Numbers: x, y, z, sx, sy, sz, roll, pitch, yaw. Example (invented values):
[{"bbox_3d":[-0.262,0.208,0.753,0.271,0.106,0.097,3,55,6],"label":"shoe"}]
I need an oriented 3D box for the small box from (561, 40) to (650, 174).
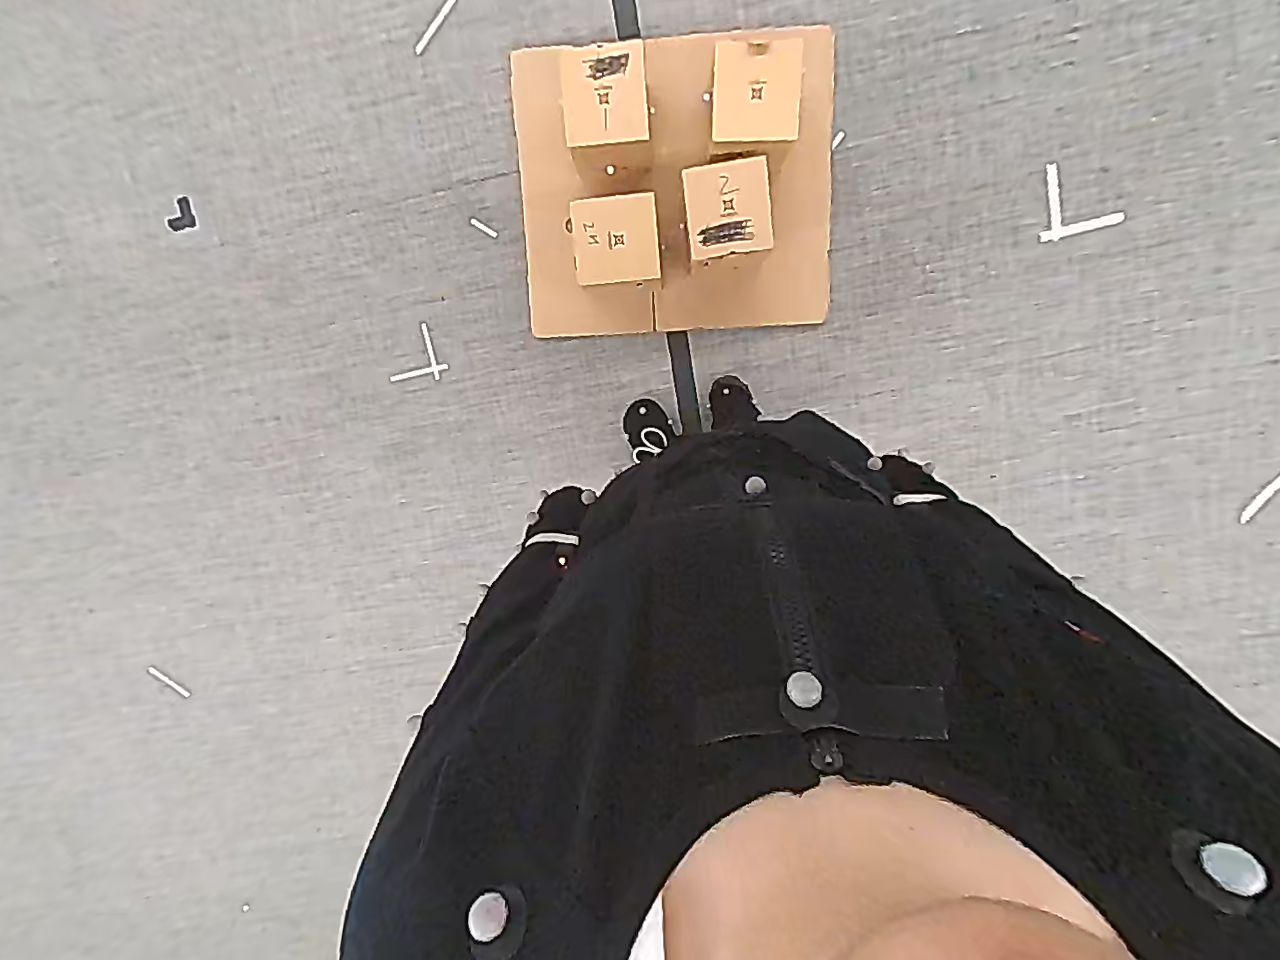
[{"bbox_3d":[-0.065,-0.766,1.128,0.168,0.176,0.179,-3,103,3],"label":"small box"}]
